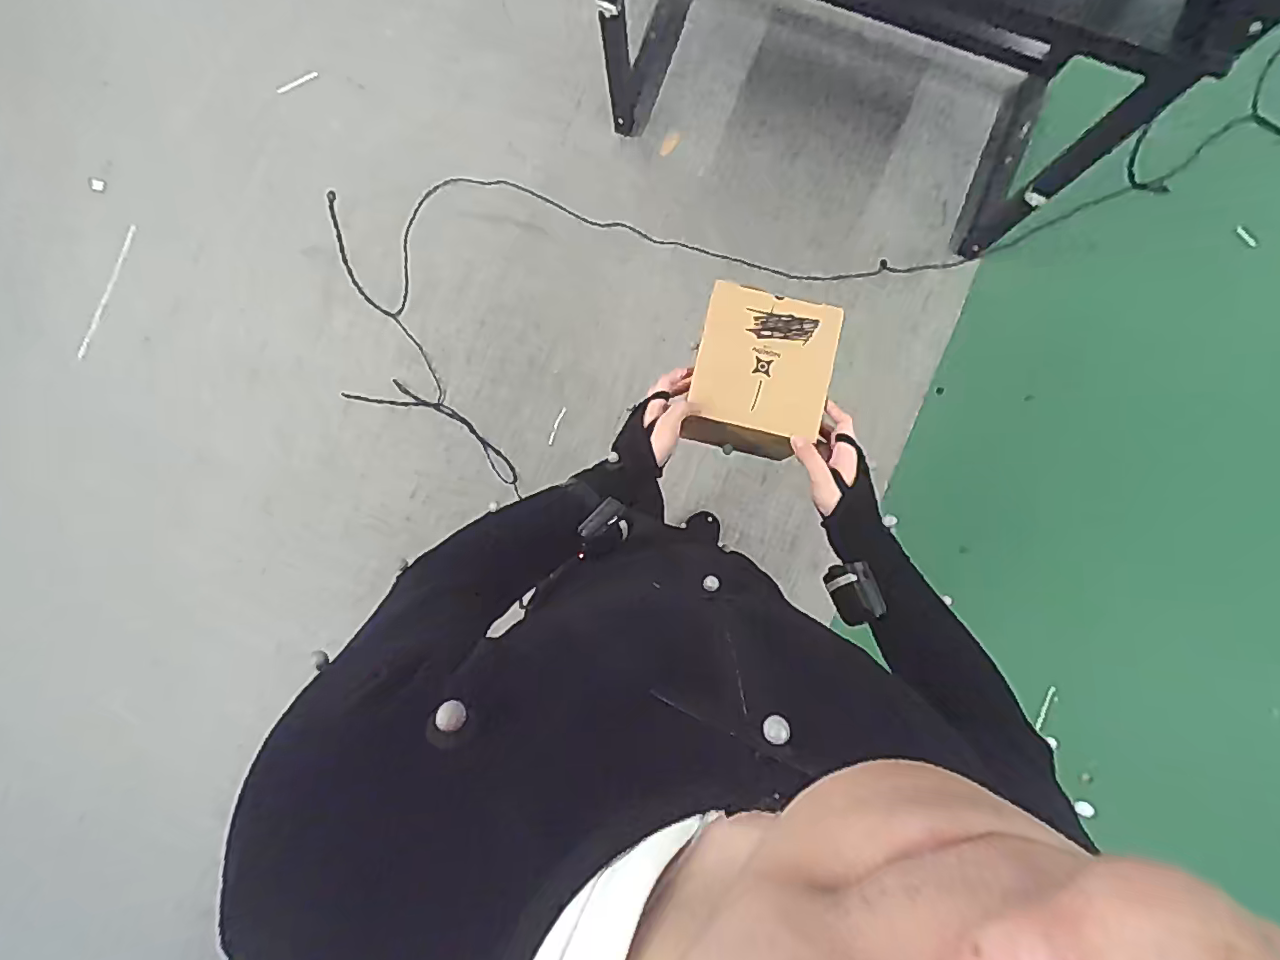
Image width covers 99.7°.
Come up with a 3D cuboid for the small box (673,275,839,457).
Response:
[{"bbox_3d":[0.143,-0.141,0.727,0.168,0.176,0.179,13,86,1],"label":"small box"}]
